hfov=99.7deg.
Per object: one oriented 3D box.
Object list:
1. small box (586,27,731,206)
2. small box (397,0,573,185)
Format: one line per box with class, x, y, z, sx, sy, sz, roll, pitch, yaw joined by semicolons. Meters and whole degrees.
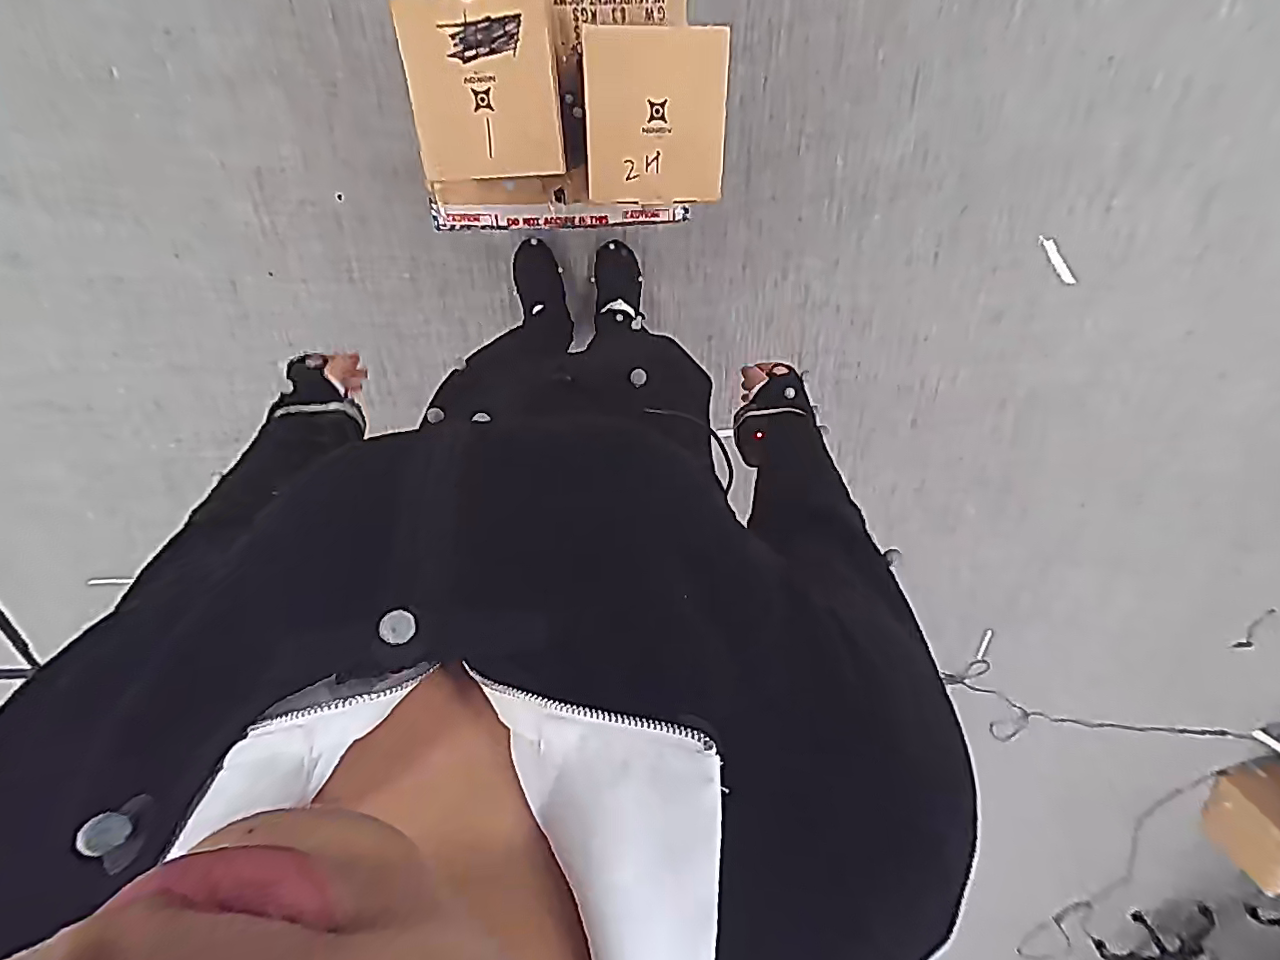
small box;0.015;-0.459;0.704;0.168;0.176;0.179;-2;120;-3
small box;-0.178;-0.477;0.682;0.168;0.176;0.179;-3;122;0
